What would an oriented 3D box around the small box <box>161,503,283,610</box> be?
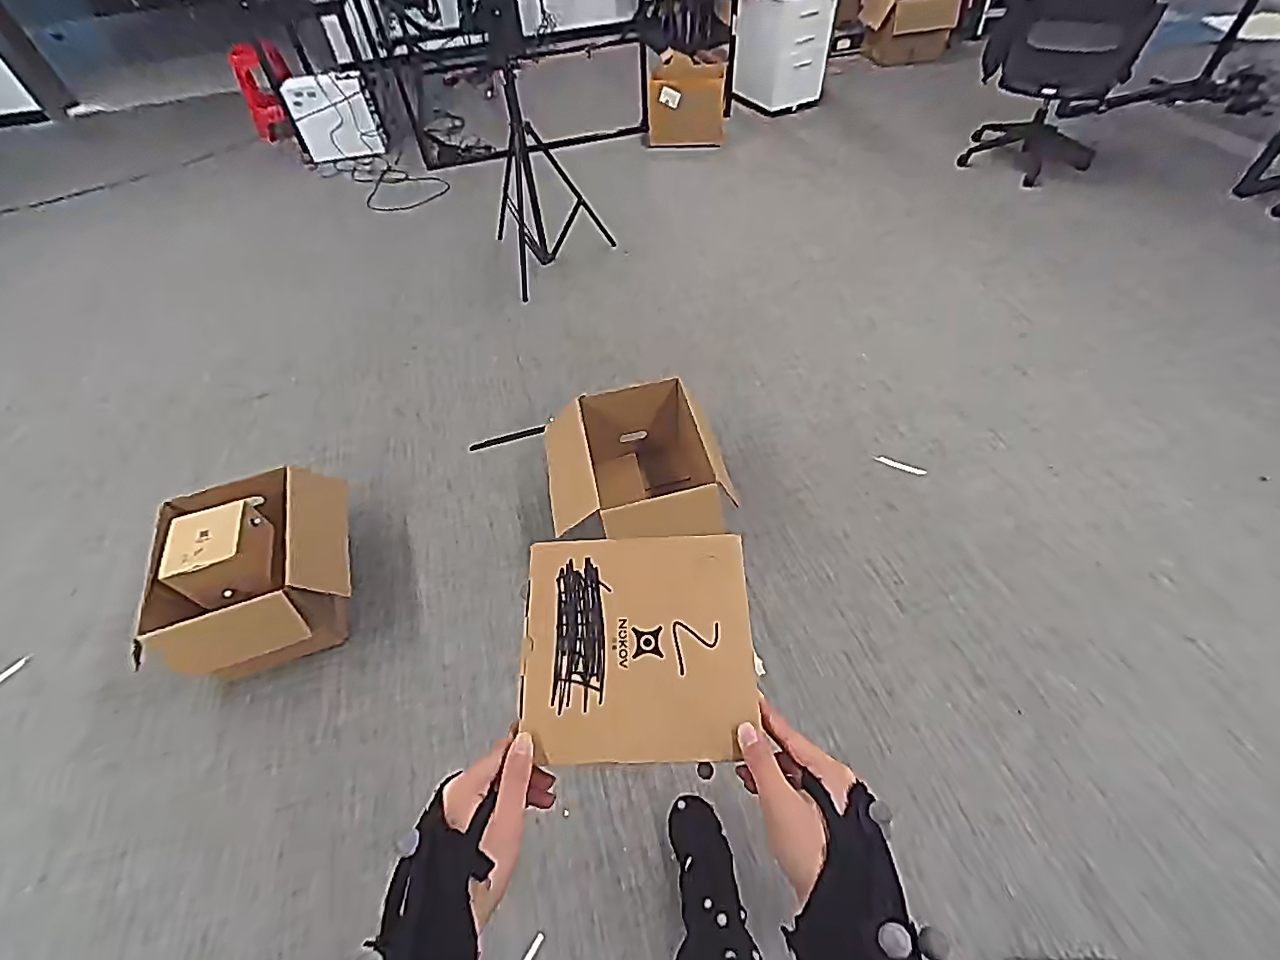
[{"bbox_3d":[-1.014,0.190,1.332,0.168,0.176,0.179,-17,53,-9],"label":"small box"}]
